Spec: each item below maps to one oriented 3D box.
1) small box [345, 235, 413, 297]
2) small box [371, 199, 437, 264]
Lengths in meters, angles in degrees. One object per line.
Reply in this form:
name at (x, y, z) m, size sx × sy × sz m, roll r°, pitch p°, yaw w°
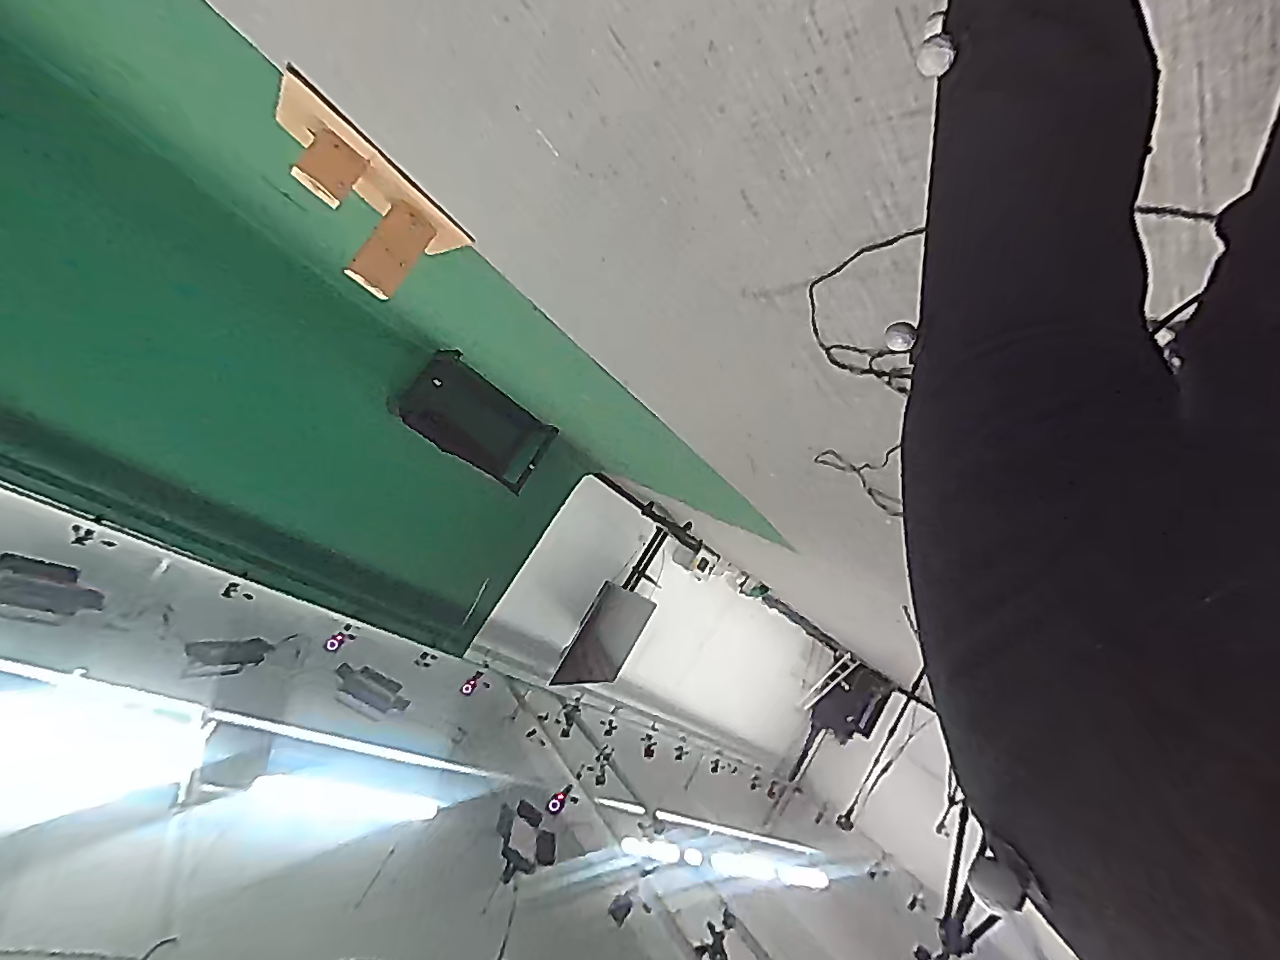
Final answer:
small box at (-1.024, -0.843, 2.130) m, size 0.168 × 0.176 × 0.179 m, roll 37°, pitch 172°, yaw -38°
small box at (-0.937, -0.981, 2.148) m, size 0.168 × 0.176 × 0.179 m, roll 36°, pitch 172°, yaw -37°
